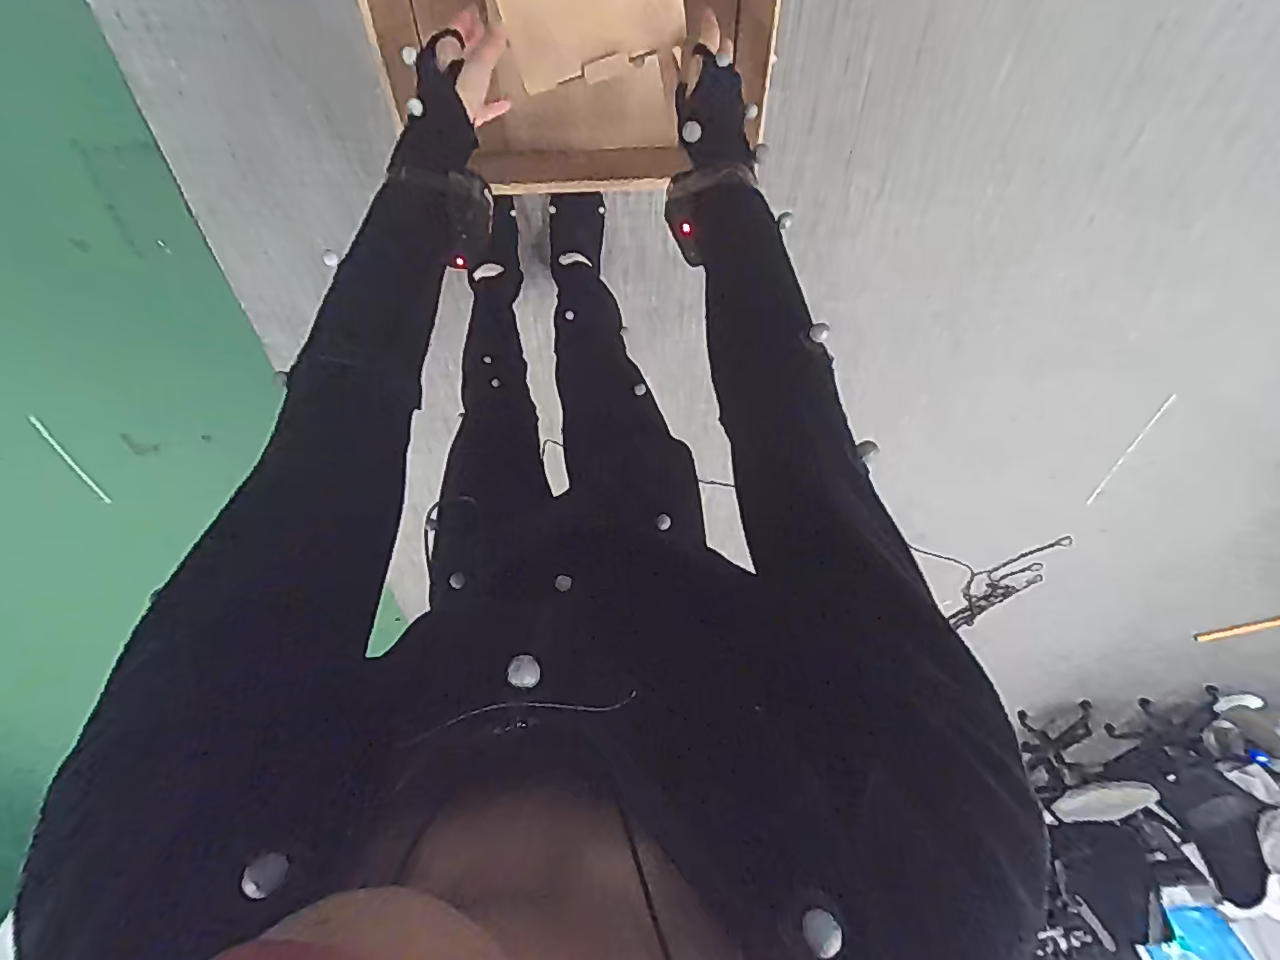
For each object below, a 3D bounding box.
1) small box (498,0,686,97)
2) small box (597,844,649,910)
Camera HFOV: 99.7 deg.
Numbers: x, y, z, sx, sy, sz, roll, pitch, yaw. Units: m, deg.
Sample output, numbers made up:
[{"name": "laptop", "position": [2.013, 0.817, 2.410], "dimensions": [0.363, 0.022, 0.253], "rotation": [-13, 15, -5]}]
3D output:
[{"name": "small box", "position": [-0.057, -0.510, 0.525], "dimensions": [0.168, 0.176, 0.179], "rotation": [-13, 133, 6]}, {"name": "small box", "position": [-0.062, 1.368, 1.854], "dimensions": [0.168, 0.176, 0.179], "rotation": [-1, 133, -5]}]
